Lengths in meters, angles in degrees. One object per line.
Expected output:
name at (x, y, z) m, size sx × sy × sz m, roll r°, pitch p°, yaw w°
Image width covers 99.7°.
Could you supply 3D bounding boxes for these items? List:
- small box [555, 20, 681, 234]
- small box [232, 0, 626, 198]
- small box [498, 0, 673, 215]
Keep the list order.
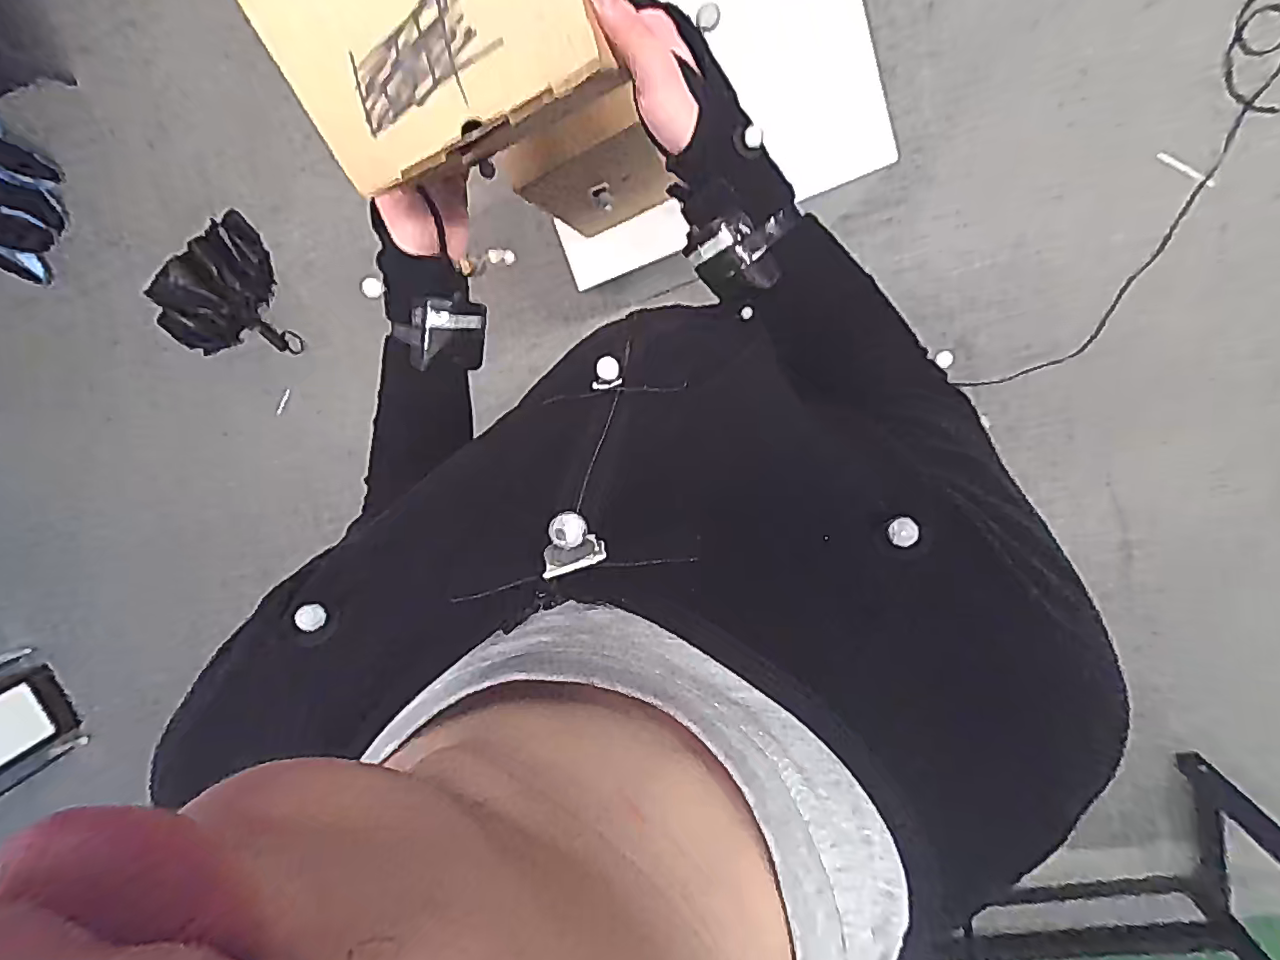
small box at (-0.050, -0.472, 0.752) m, size 0.168 × 0.176 × 0.179 m, roll -19°, pitch 101°, yaw 14°
small box at (-0.119, -0.302, 0.323) m, size 0.168 × 0.176 × 0.179 m, roll -16°, pitch 121°, yaw 18°
small box at (-0.075, -0.426, 0.599) m, size 0.168 × 0.176 × 0.179 m, roll -21°, pitch 102°, yaw 16°
